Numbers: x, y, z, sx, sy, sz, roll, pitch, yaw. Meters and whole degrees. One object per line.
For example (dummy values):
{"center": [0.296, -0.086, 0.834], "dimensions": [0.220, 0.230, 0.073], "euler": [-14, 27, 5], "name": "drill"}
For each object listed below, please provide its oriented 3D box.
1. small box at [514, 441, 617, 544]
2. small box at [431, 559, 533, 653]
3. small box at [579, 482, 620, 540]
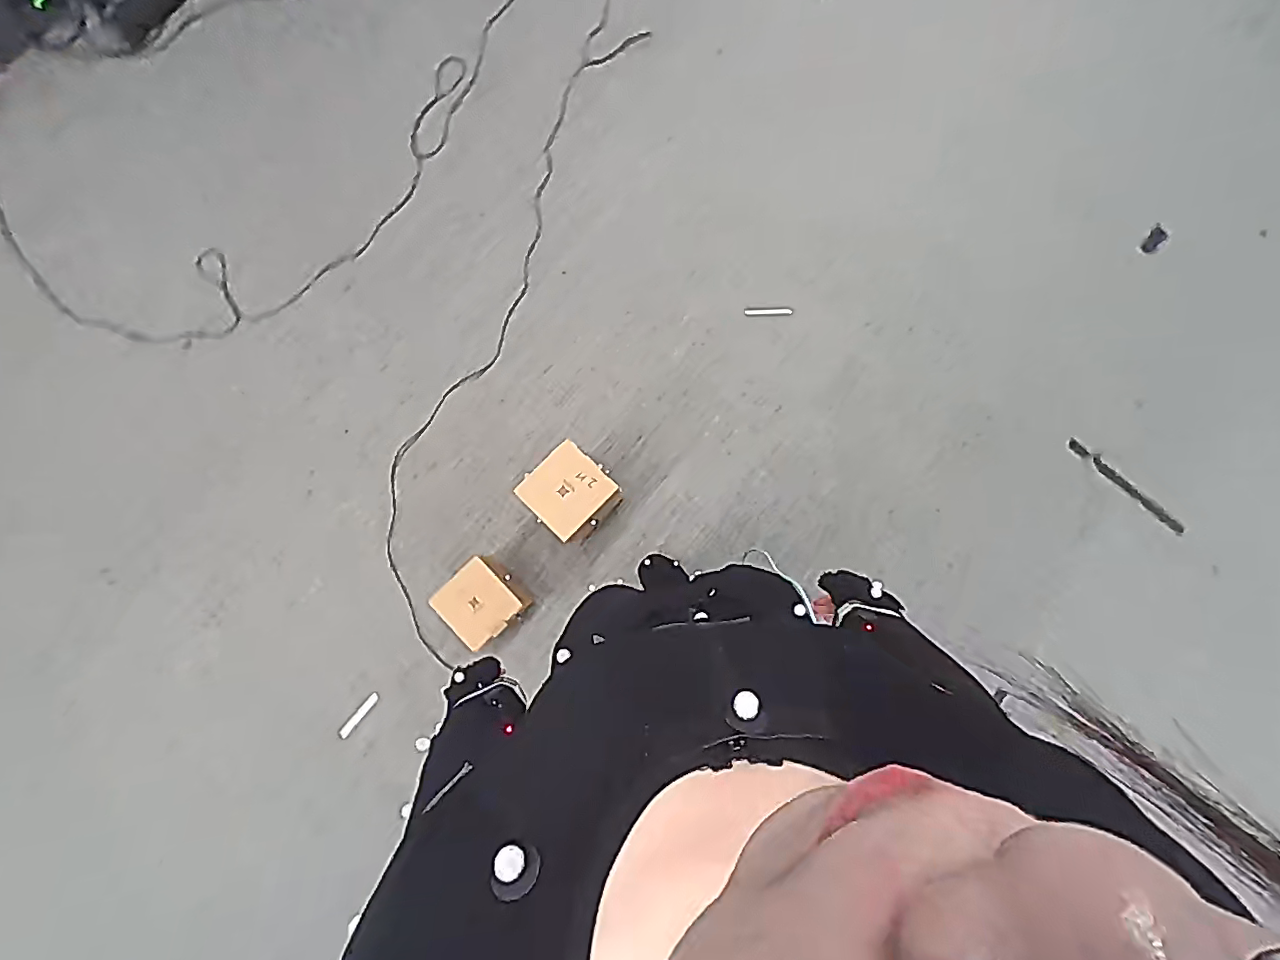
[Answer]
{"center": [-0.167, 0.038, 1.288], "dimensions": [0.168, 0.176, 0.179], "euler": [44, 84, 4], "name": "small box"}
{"center": [-0.403, 0.320, 1.418], "dimensions": [0.168, 0.176, 0.179], "euler": [-44, 85, -6], "name": "small box"}
{"center": [-0.164, 0.050, 1.453], "dimensions": [0.168, 0.176, 0.179], "euler": [42, 85, 4], "name": "small box"}
